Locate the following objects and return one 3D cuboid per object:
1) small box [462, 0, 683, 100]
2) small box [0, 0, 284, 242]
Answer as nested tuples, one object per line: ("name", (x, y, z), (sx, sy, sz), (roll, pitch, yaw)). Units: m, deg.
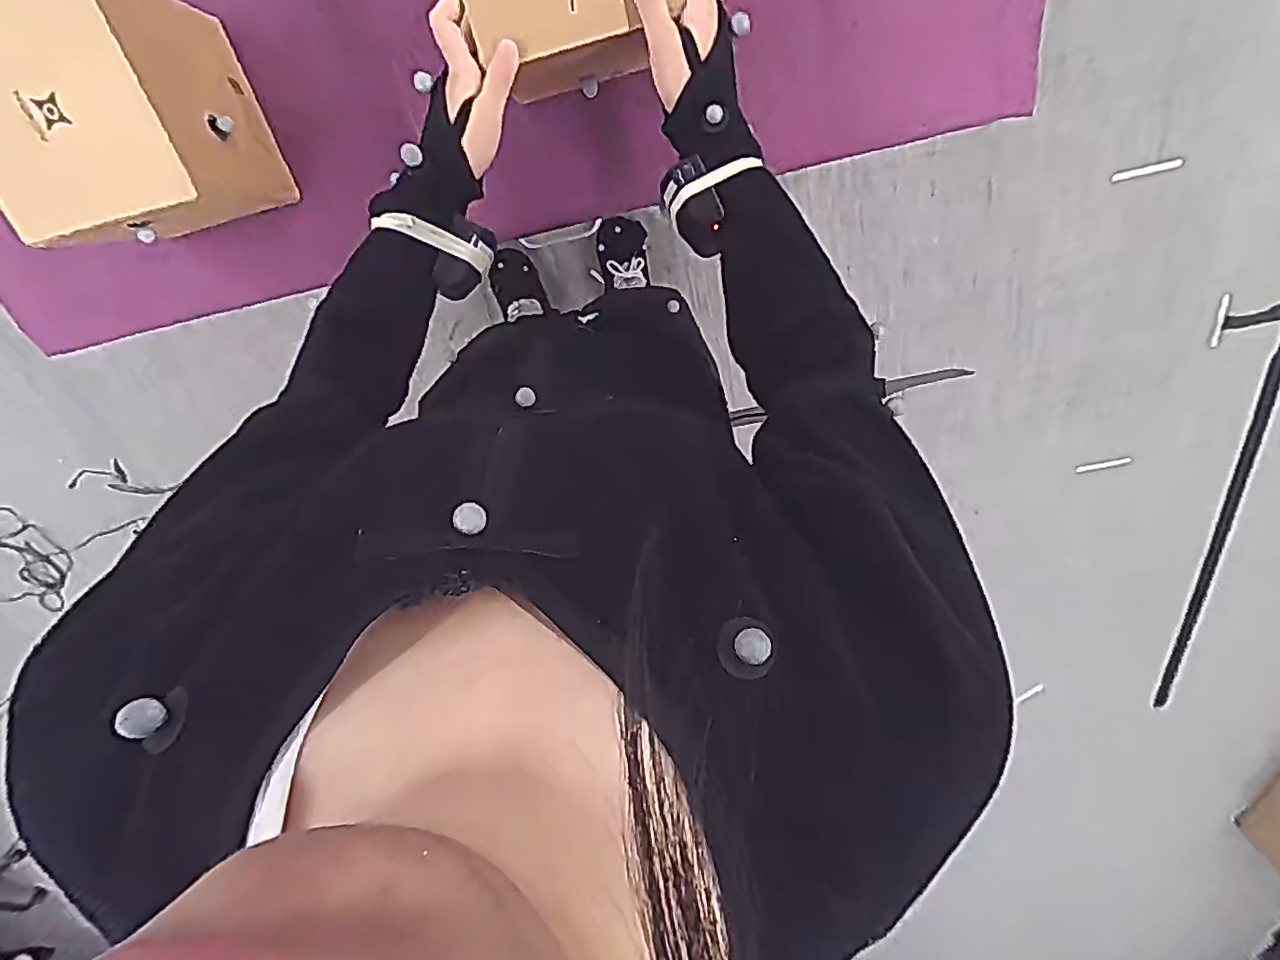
("small box", (-0.066, -0.450, 0.452), (0.168, 0.176, 0.179), (-12, 118, 5))
("small box", (-0.479, -0.336, 0.506), (0.179, 0.176, 0.168), (-12, 117, 6))
